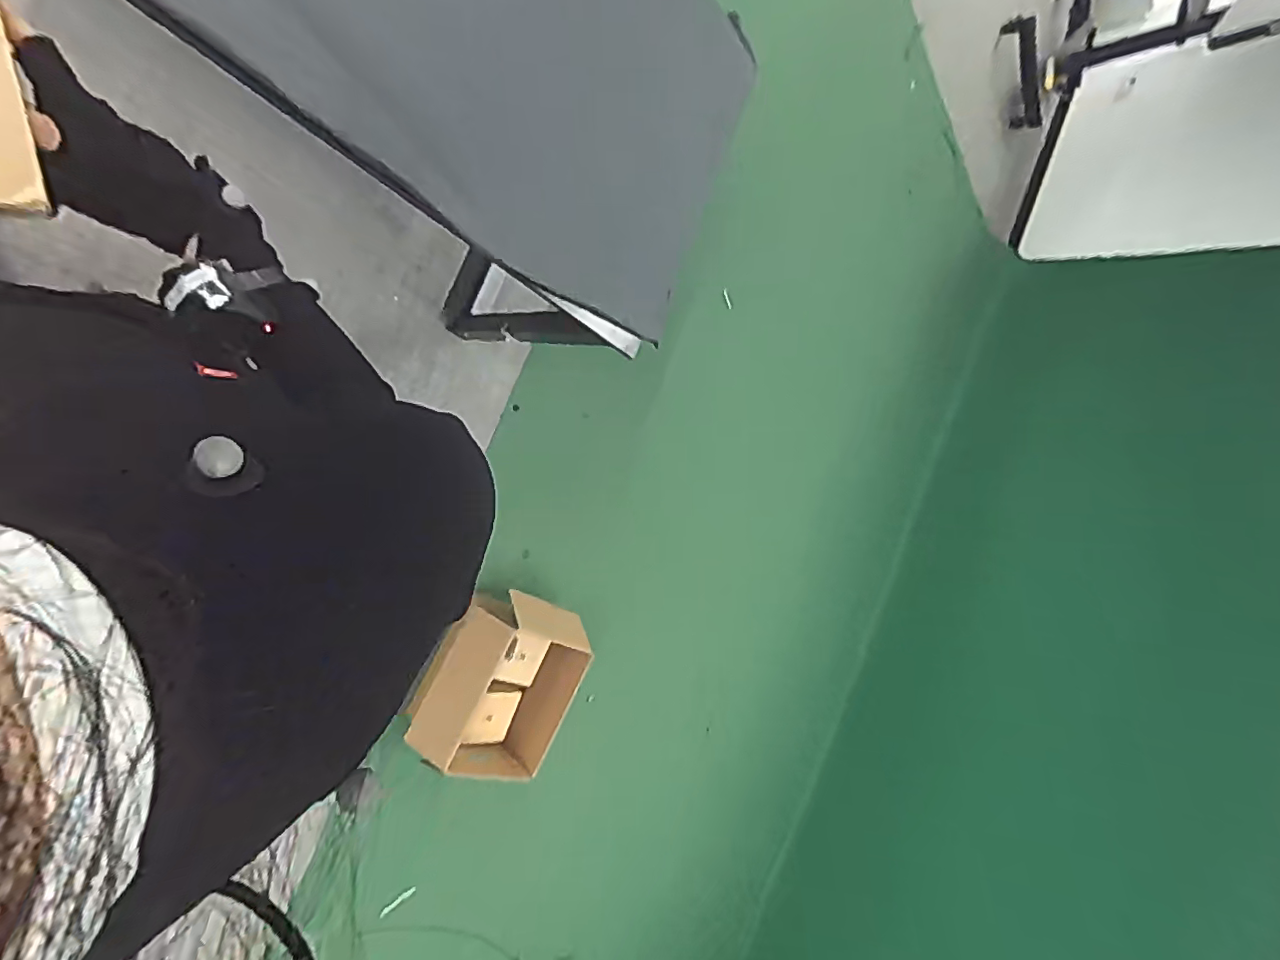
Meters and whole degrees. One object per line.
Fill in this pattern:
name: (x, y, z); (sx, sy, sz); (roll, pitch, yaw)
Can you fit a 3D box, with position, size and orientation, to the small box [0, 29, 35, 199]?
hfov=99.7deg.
small box: (-0.411, -0.235, 0.235); (0.168, 0.176, 0.179); (-16, 118, -46)
